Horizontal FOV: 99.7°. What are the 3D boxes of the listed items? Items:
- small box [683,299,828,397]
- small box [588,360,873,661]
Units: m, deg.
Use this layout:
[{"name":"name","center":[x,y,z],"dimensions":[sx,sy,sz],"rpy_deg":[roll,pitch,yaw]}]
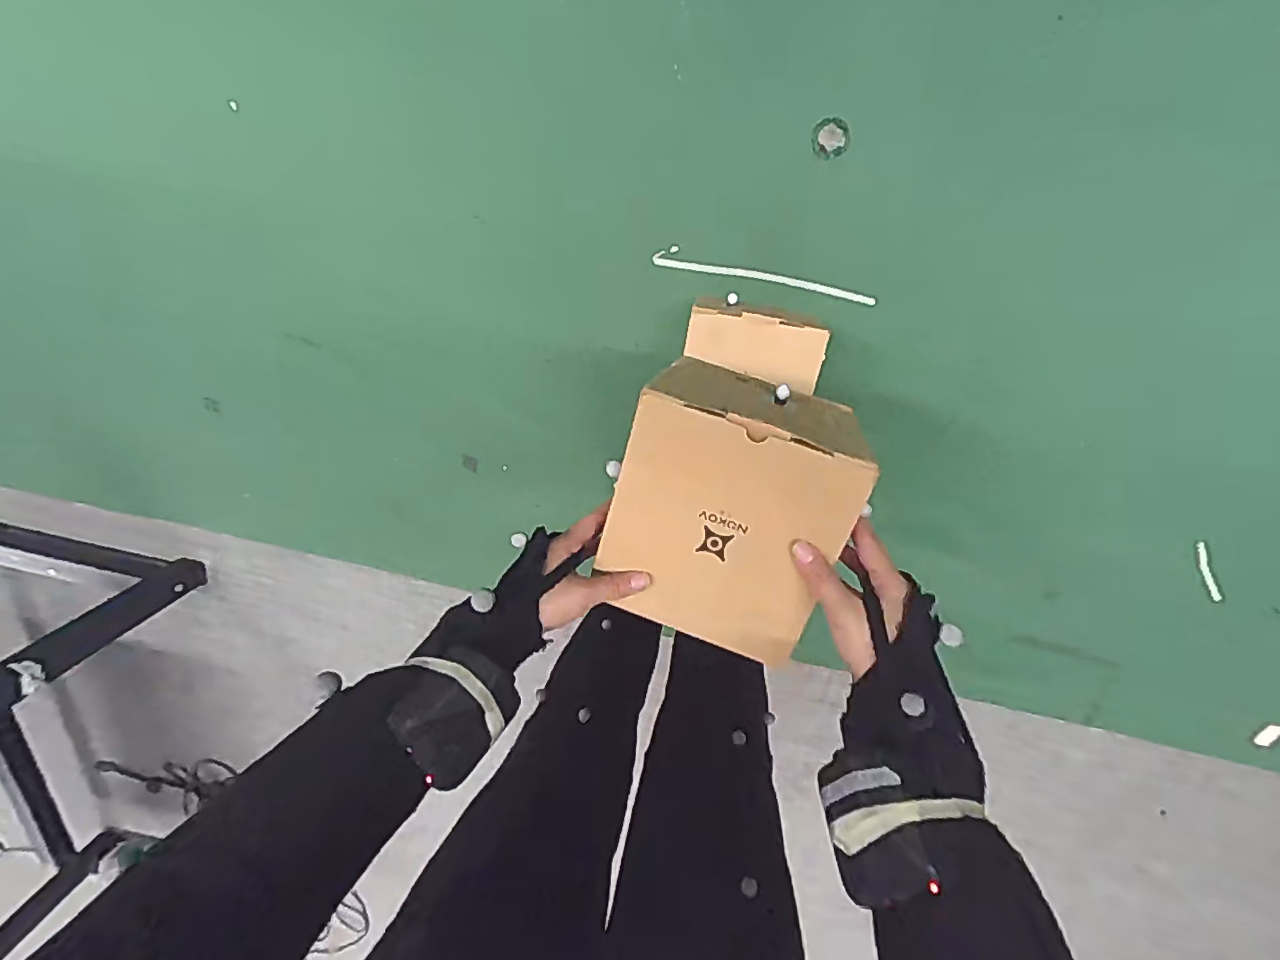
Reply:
[{"name":"small box","center":[0.140,-0.143,0.741],"dimensions":[0.168,0.176,0.179],"rpy_deg":[11,115,5]},{"name":"small box","center":[0.074,0.012,0.466],"dimensions":[0.168,0.176,0.179],"rpy_deg":[20,113,6]}]
